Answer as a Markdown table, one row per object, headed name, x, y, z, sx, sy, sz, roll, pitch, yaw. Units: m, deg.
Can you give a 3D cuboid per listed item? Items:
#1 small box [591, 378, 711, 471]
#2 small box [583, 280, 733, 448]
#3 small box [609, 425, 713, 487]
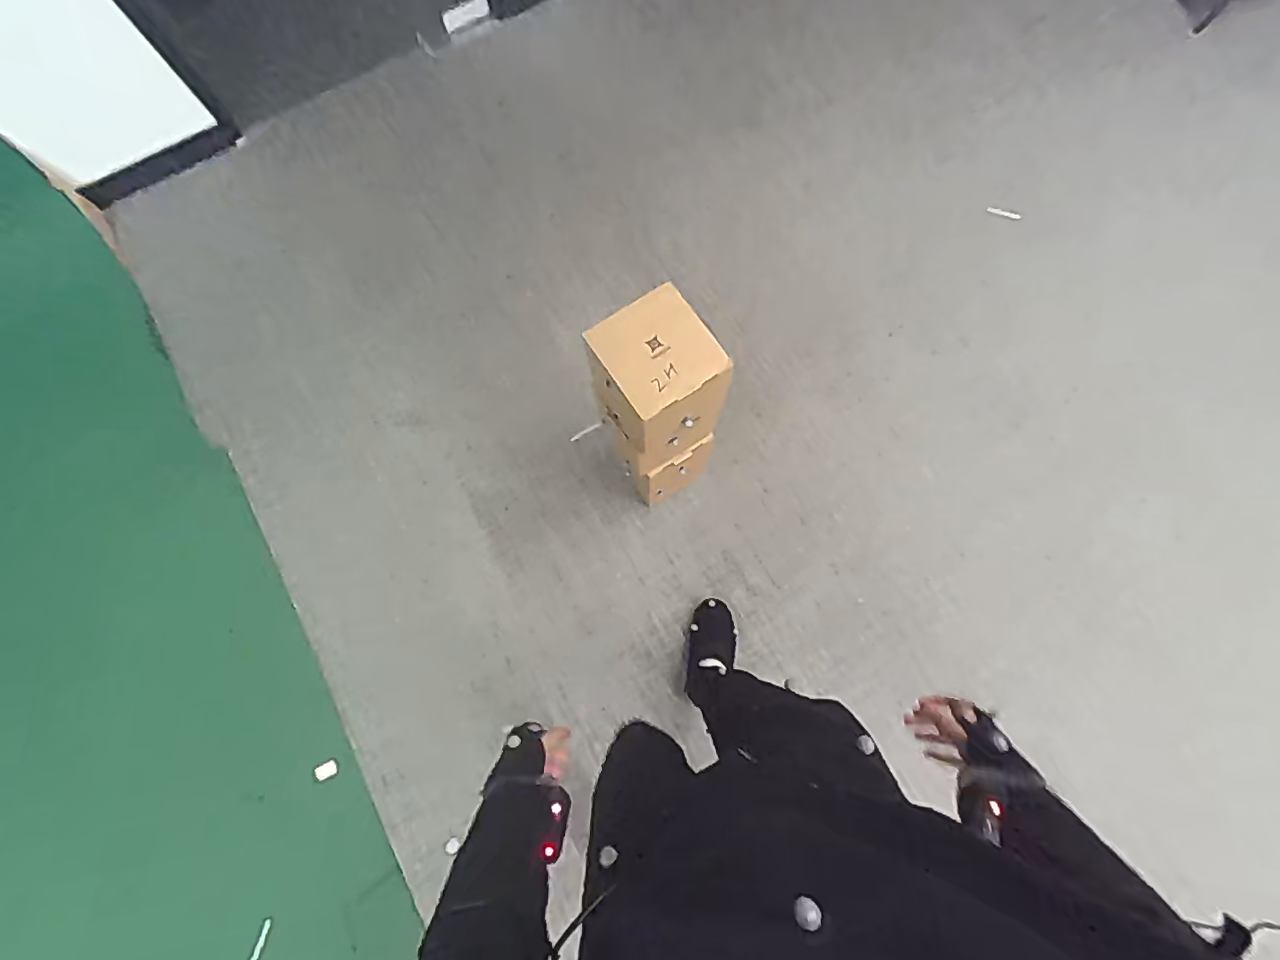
| name | x | y | z | sx | sy | sz | roll | pitch | yaw |
| --- | --- | --- | --- | --- | --- | --- | --- | --- | --- |
| small box | 0.028 | -0.140 | 1.047 | 0.179 | 0.176 | 0.168 | -31 | 77 | -6 |
| small box | 0.026 | -0.180 | 0.888 | 0.168 | 0.176 | 0.179 | -33 | 78 | -6 |
| small box | 0.042 | -0.099 | 1.207 | 0.168 | 0.176 | 0.179 | -32 | 78 | -7 |
